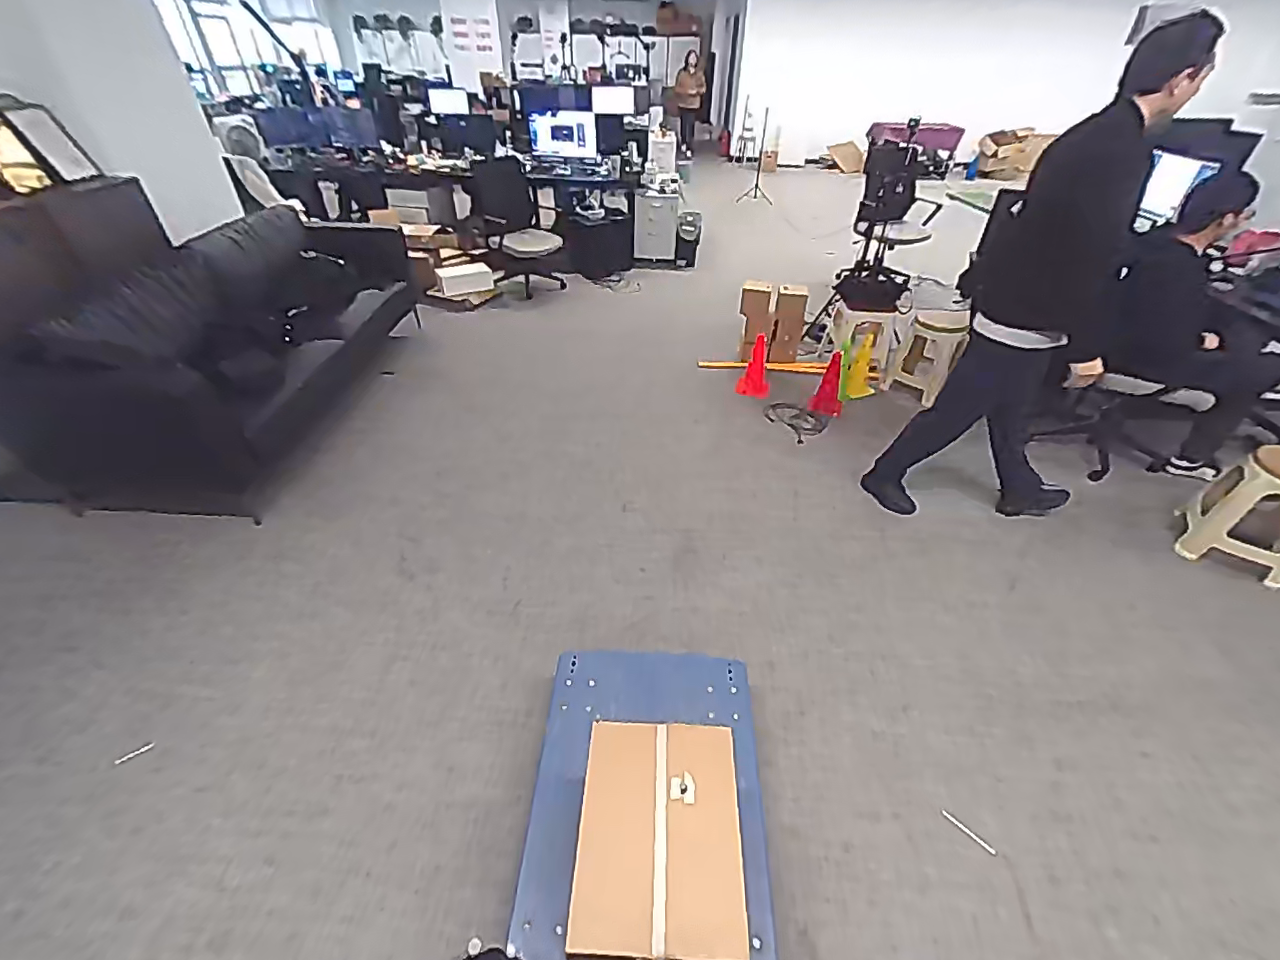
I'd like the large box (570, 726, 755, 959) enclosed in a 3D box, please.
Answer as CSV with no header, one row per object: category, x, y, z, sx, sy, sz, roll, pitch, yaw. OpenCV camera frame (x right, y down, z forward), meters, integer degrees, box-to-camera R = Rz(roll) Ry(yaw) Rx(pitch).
large box,0.043,0.791,1.130,0.320,0.320,0.408,3,37,2
